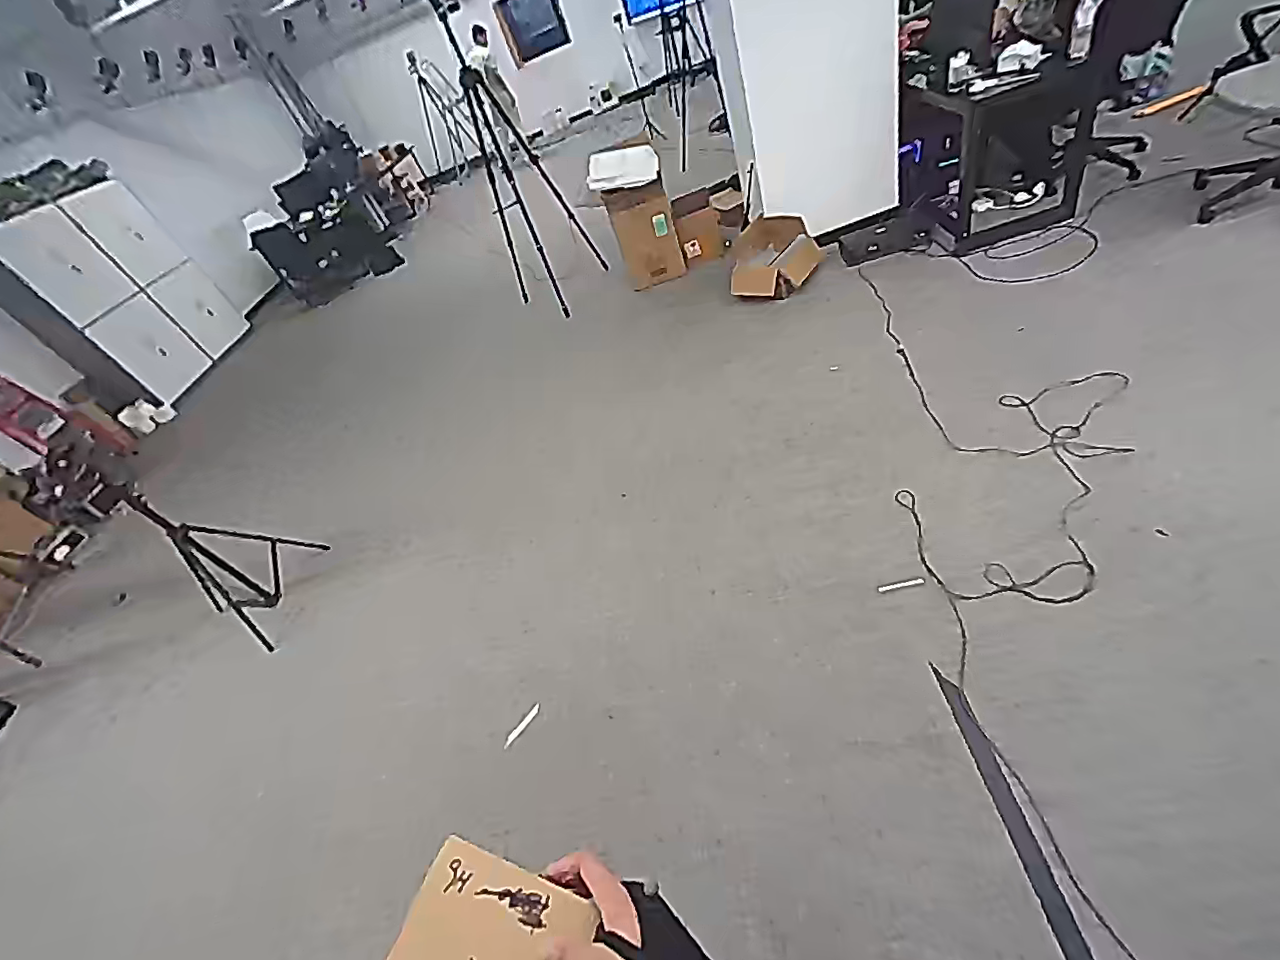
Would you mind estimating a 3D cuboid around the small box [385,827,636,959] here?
[{"bbox_3d":[-0.116,0.456,0.486,0.168,0.176,0.179,9,50,23],"label":"small box"}]
